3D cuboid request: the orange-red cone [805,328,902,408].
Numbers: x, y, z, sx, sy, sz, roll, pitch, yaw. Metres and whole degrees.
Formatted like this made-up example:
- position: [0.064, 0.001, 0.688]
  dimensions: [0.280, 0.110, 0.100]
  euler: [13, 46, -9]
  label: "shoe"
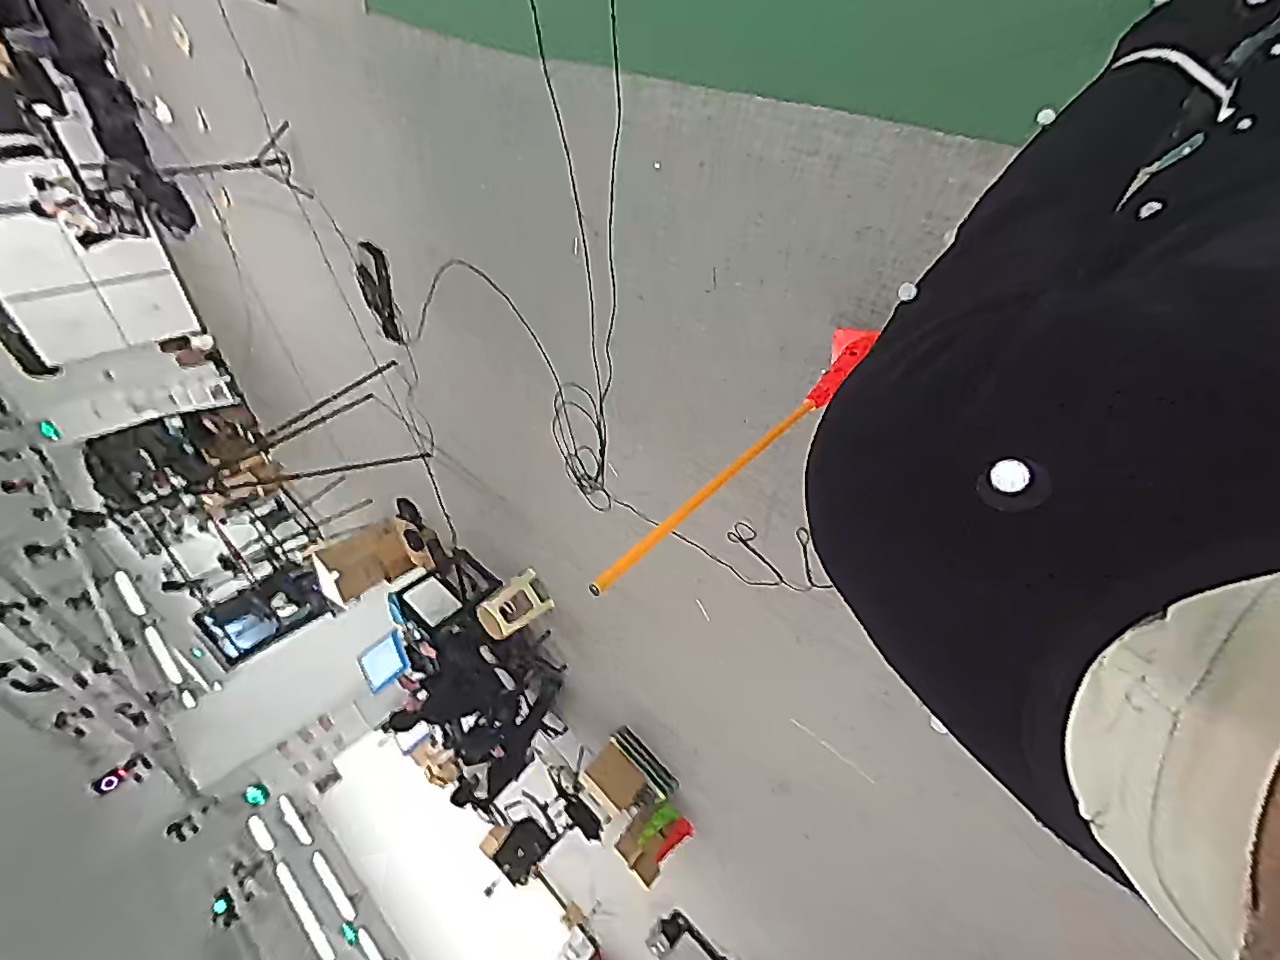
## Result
- position: [0.578, -0.286, 1.563]
  dimensions: [0.199, 0.360, 0.198]
  euler: [22, 132, 39]
  label: "orange-red cone"
